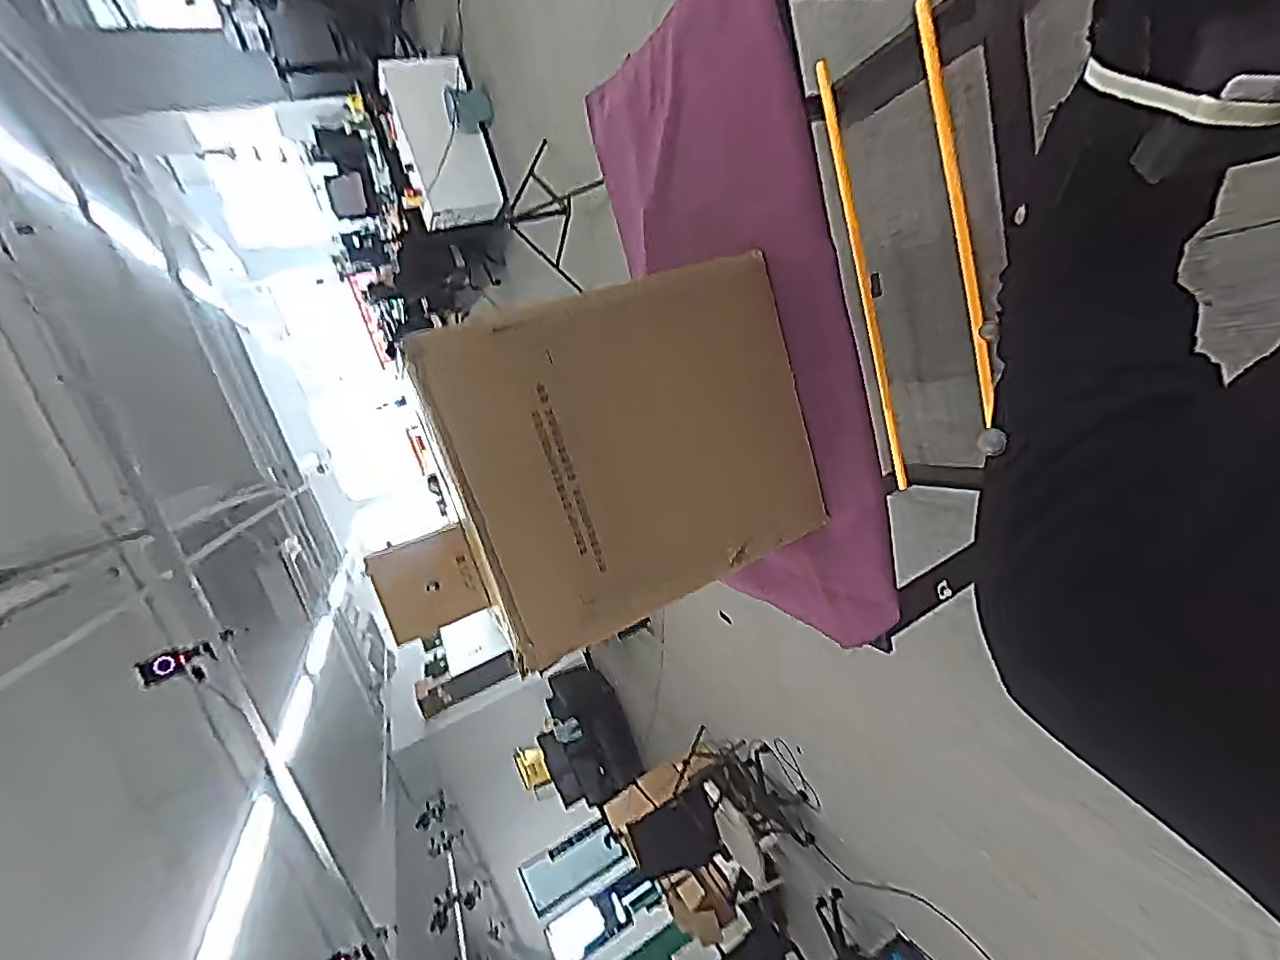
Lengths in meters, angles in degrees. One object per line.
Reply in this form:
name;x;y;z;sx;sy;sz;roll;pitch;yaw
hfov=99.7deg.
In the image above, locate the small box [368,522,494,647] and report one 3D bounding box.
small box;-0.388;0.185;1.018;0.179;0.176;0.168;-6;104;68
